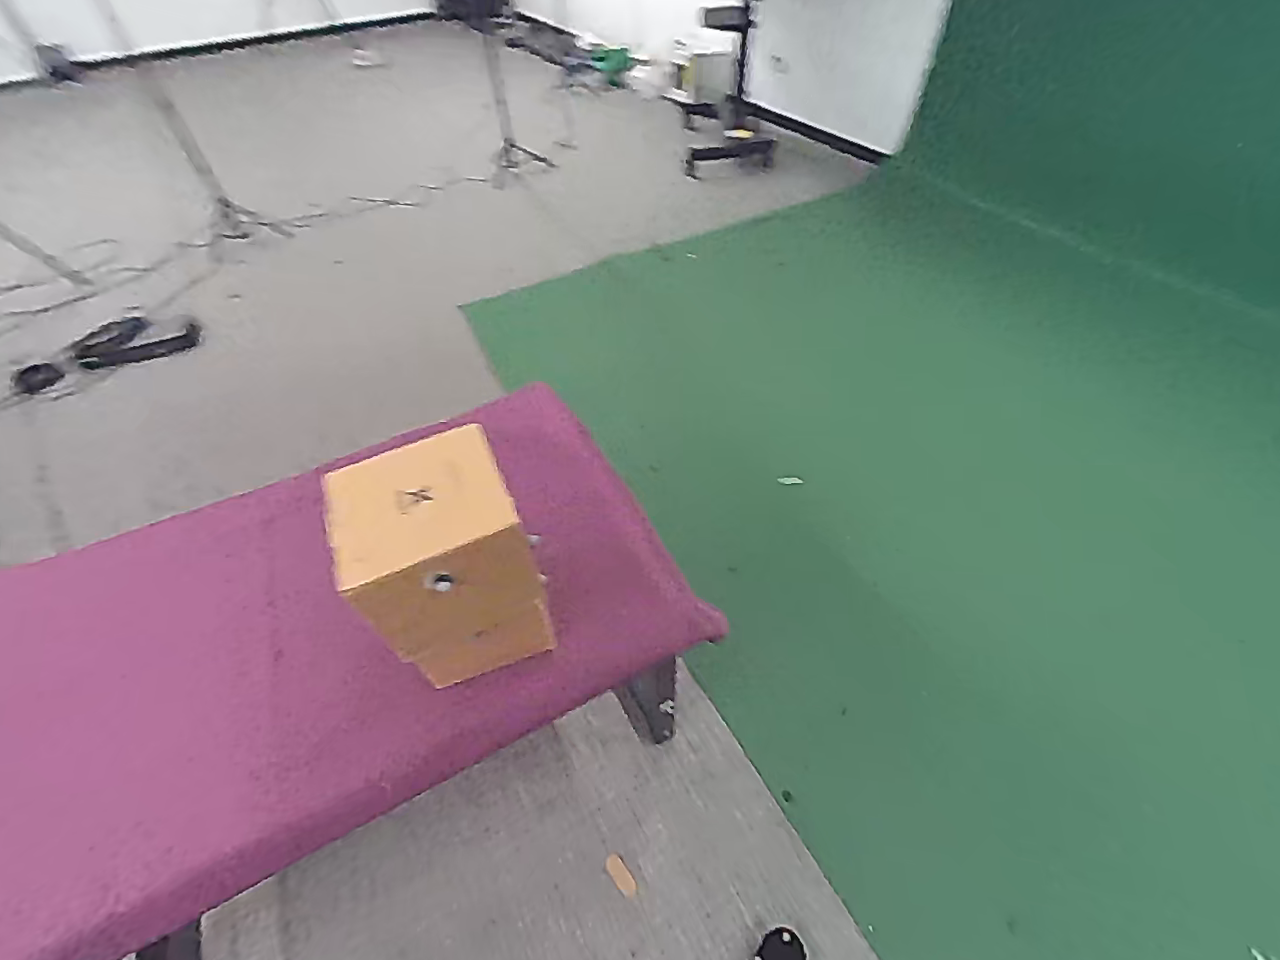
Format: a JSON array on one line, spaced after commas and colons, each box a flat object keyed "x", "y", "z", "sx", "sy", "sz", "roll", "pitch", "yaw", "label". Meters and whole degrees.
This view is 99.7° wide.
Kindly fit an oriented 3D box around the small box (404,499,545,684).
[{"x": -0.240, "y": 0.158, "z": 0.762, "sx": 0.179, "sy": 0.176, "sz": 0.168, "roll": -18, "pitch": 50, "yaw": -10, "label": "small box"}]

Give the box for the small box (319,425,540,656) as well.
[{"x": -0.234, "y": 0.072, "z": 0.620, "sx": 0.179, "sy": 0.176, "sz": 0.168, "roll": -22, "pitch": 52, "yaw": -14, "label": "small box"}]
